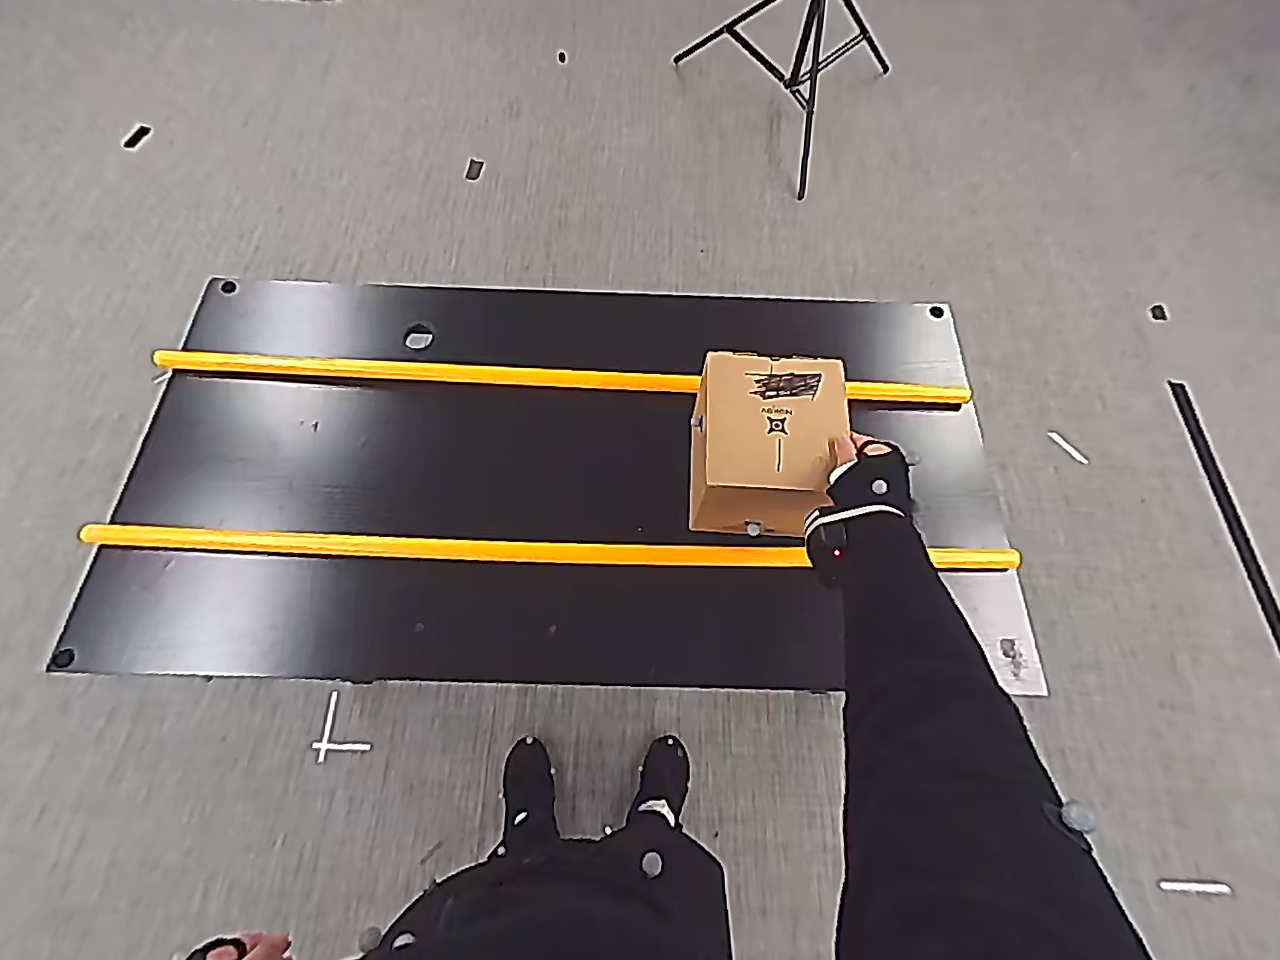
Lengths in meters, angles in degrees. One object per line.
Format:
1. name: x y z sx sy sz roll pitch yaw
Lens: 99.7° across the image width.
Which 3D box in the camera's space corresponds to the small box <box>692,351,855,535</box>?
1. small box: 0.158 -0.041 0.695 0.168 0.176 0.179 4 68 1
